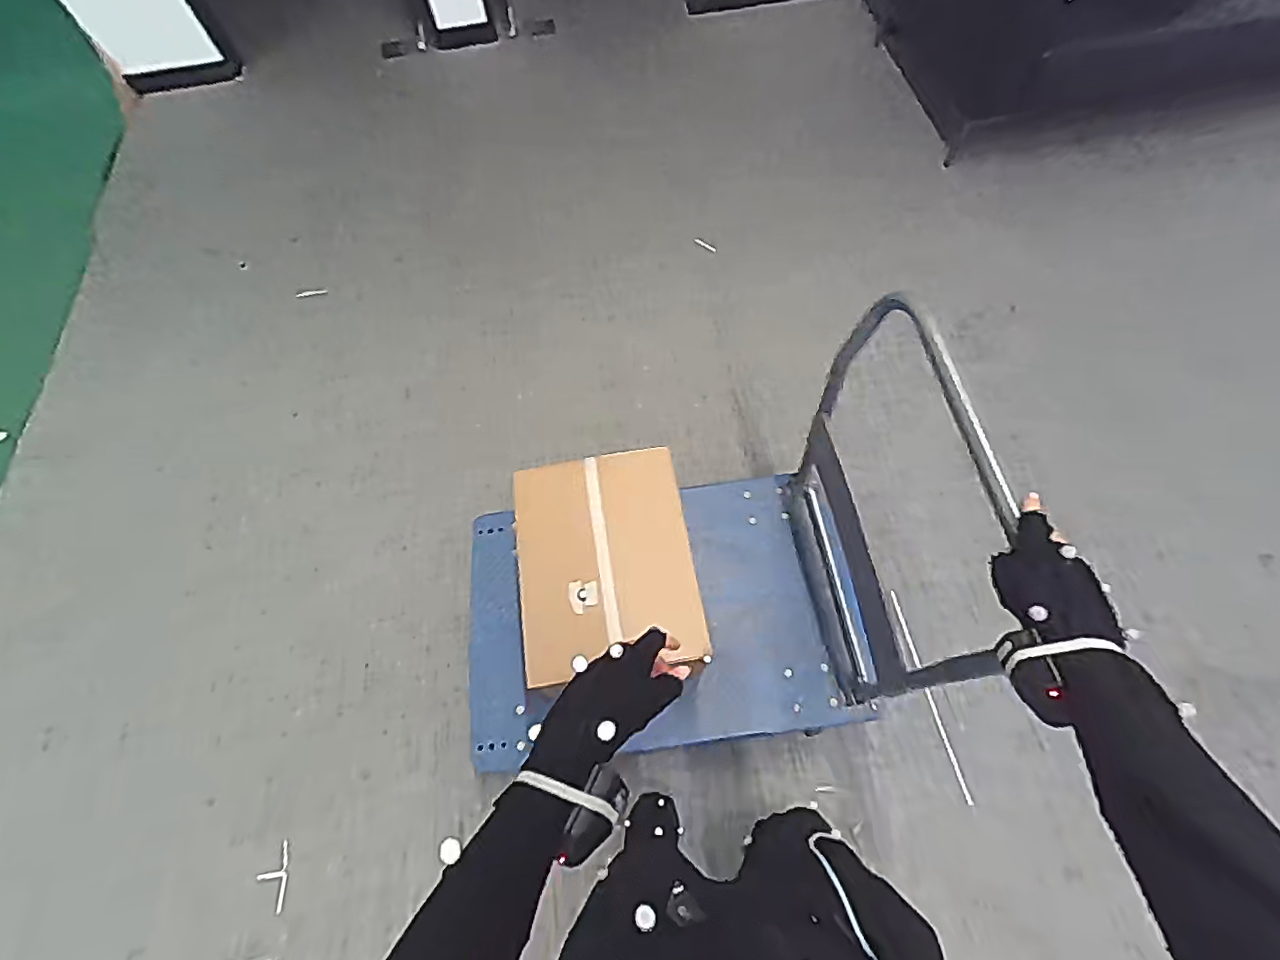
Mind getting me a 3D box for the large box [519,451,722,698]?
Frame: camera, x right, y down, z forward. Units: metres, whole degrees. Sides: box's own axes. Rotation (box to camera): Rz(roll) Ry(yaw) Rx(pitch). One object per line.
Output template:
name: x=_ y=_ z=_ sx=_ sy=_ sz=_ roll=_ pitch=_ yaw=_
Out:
large box: x=-0.044 y=0.205 z=1.119 sx=0.320 sy=0.320 sz=0.408 roll=-11 pitch=65 yaw=-1
